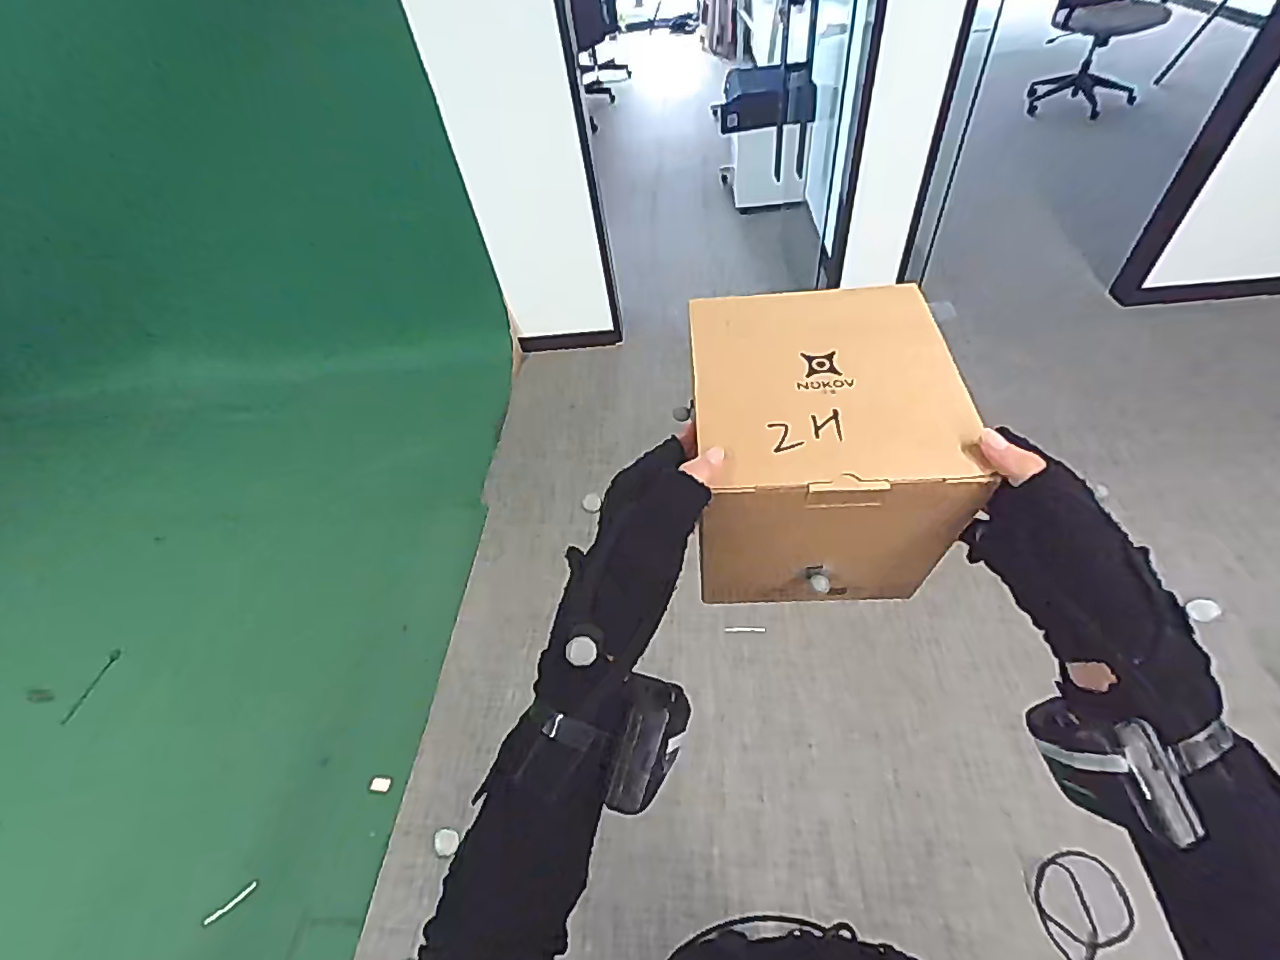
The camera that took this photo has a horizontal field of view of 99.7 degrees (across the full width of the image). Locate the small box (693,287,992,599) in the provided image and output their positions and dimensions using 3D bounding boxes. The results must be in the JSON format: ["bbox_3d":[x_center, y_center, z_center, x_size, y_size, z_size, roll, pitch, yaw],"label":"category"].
[{"bbox_3d":[0.125,-0.022,0.421,0.168,0.176,0.179,-3,55,6],"label":"small box"}]
